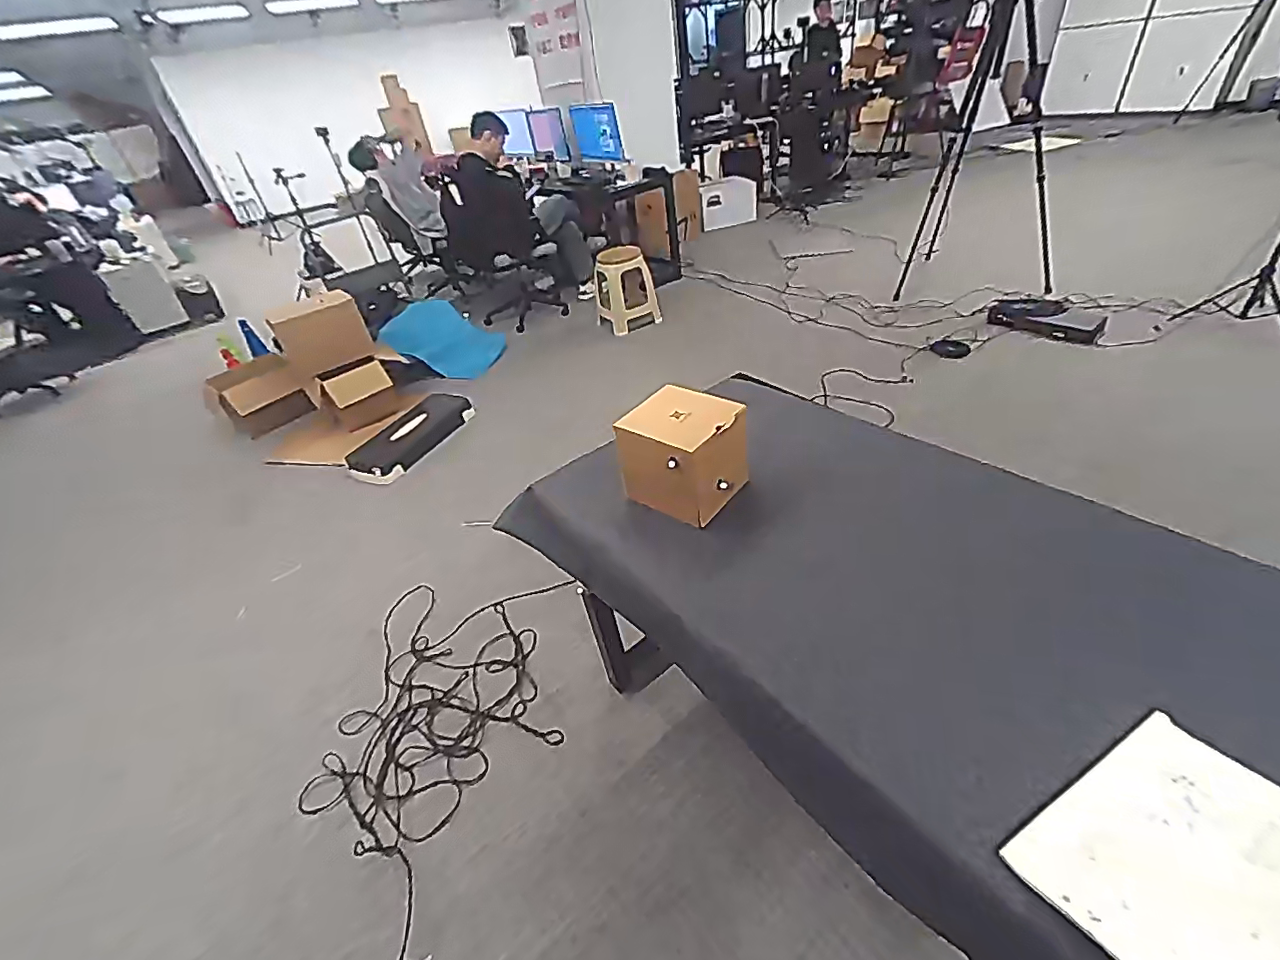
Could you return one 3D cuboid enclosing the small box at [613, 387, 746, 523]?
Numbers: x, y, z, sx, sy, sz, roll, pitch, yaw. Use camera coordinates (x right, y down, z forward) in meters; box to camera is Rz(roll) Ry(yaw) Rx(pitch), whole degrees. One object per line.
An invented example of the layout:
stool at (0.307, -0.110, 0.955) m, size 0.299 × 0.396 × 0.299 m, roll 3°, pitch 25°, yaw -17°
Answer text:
small box at (0.077, -0.046, 0.988) m, size 0.179 × 0.176 × 0.168 m, roll 21°, pitch 47°, yaw 34°
